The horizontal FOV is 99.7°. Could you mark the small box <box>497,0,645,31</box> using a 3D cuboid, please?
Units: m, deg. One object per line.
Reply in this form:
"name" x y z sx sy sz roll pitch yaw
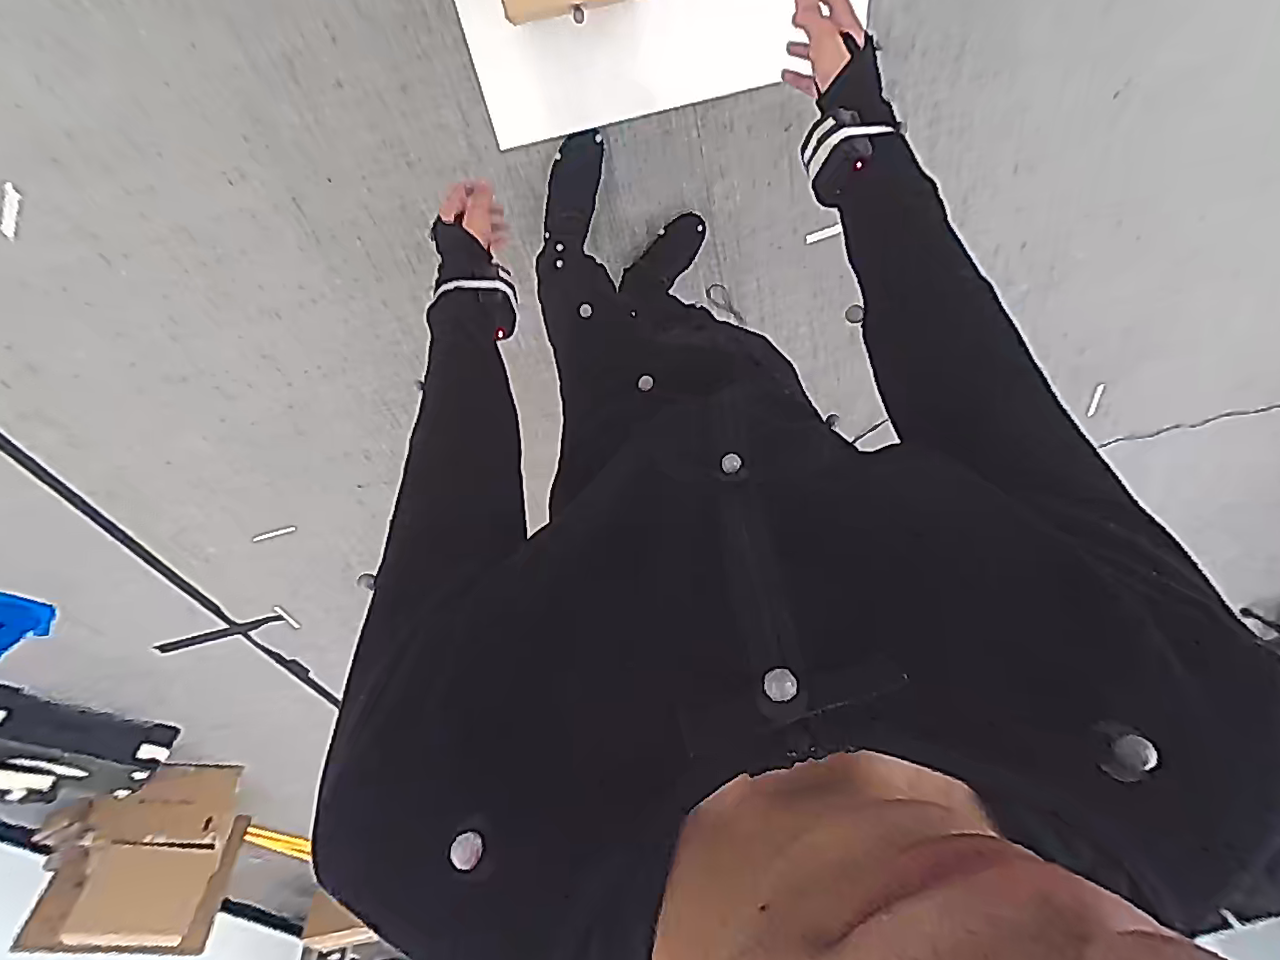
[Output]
"small box" -0.076 -0.584 0.556 0.179 0.176 0.168 -13 129 -1
